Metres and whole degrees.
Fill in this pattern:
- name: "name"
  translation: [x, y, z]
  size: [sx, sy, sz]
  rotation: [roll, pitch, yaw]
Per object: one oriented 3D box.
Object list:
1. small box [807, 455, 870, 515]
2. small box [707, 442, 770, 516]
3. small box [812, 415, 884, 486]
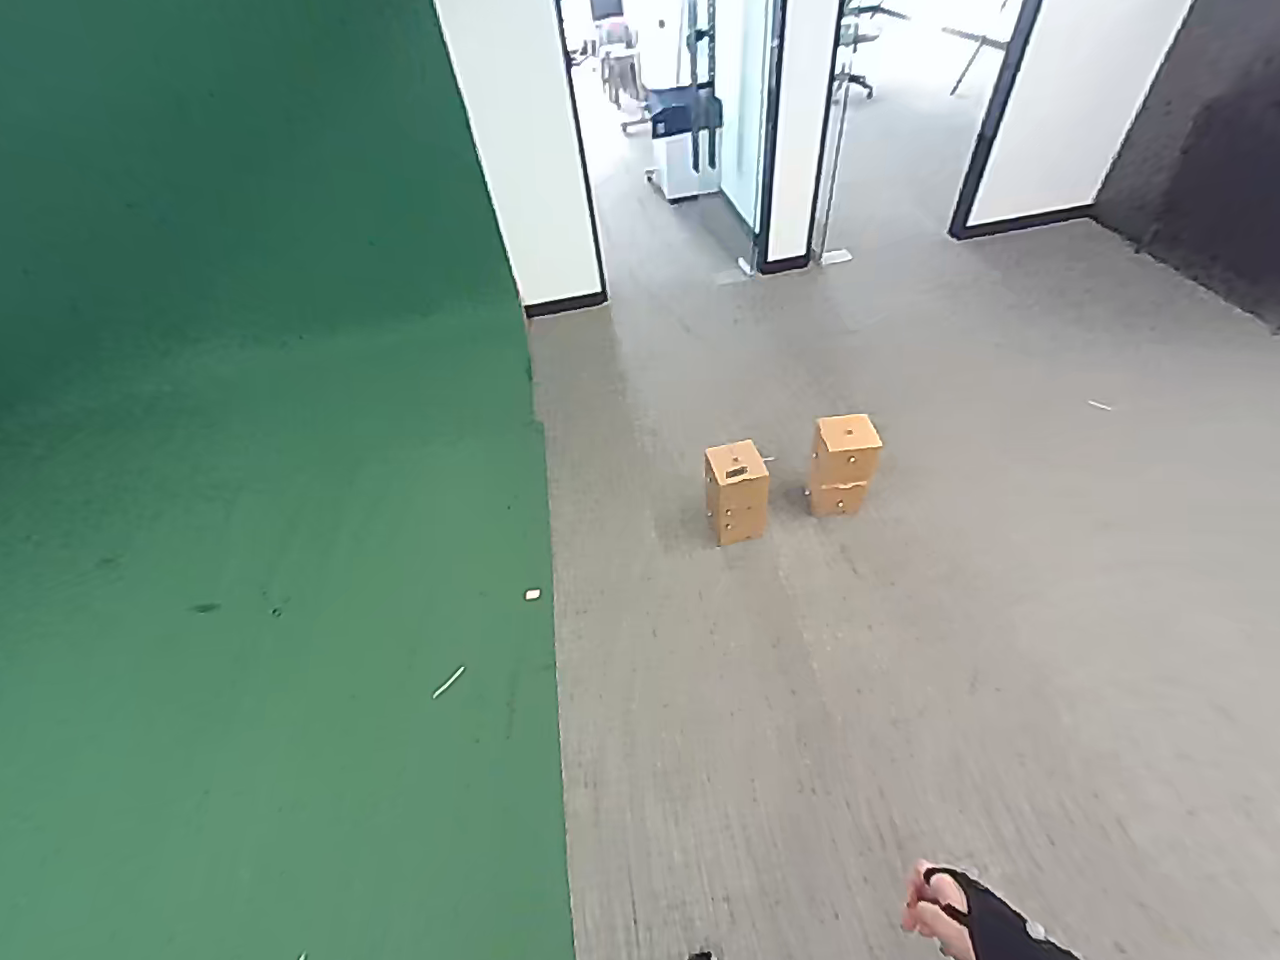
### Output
- name: "small box"
  translation: [0.718, 0.017, 1.975]
  size: [0.168, 0.176, 0.179]
  rotation: [-5, 49, 3]
- name: "small box"
  translation: [0.328, 0.004, 1.821]
  size: [0.168, 0.176, 0.179]
  rotation: [-12, 46, -4]
- name: "small box"
  translation: [0.709, -0.098, 1.861]
  size: [0.179, 0.176, 0.168]
  rotation: [-7, 47, 3]
